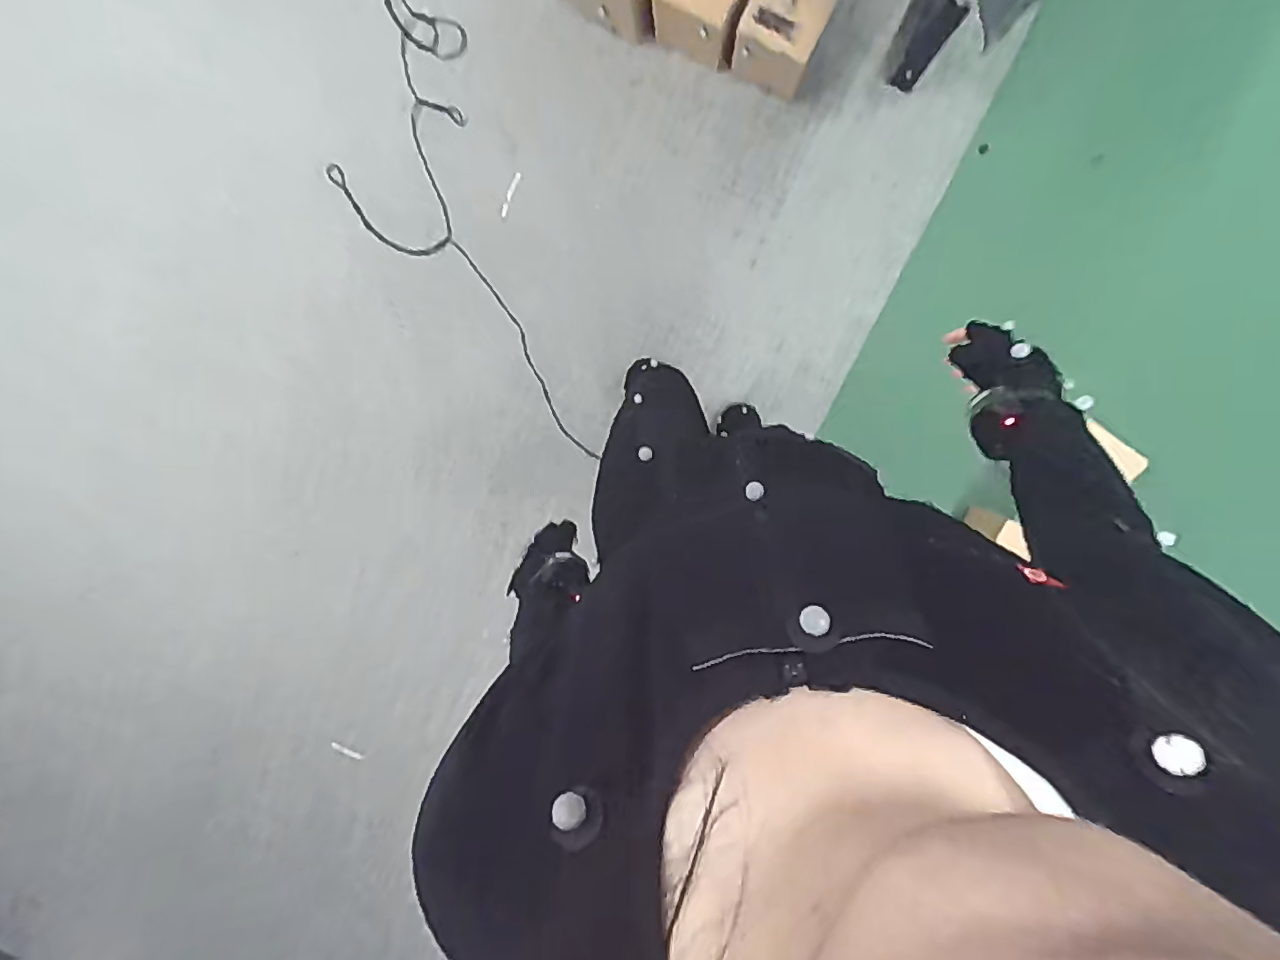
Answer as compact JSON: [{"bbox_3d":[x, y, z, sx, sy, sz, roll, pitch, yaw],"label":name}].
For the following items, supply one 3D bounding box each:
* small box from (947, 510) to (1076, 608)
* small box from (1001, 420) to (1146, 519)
[{"bbox_3d":[0.916,0.188,1.357,0.179,0.176,0.168,23,101,0],"label":"small box"},{"bbox_3d":[1.038,-0.035,1.311,0.179,0.176,0.168,36,100,-1],"label":"small box"}]
